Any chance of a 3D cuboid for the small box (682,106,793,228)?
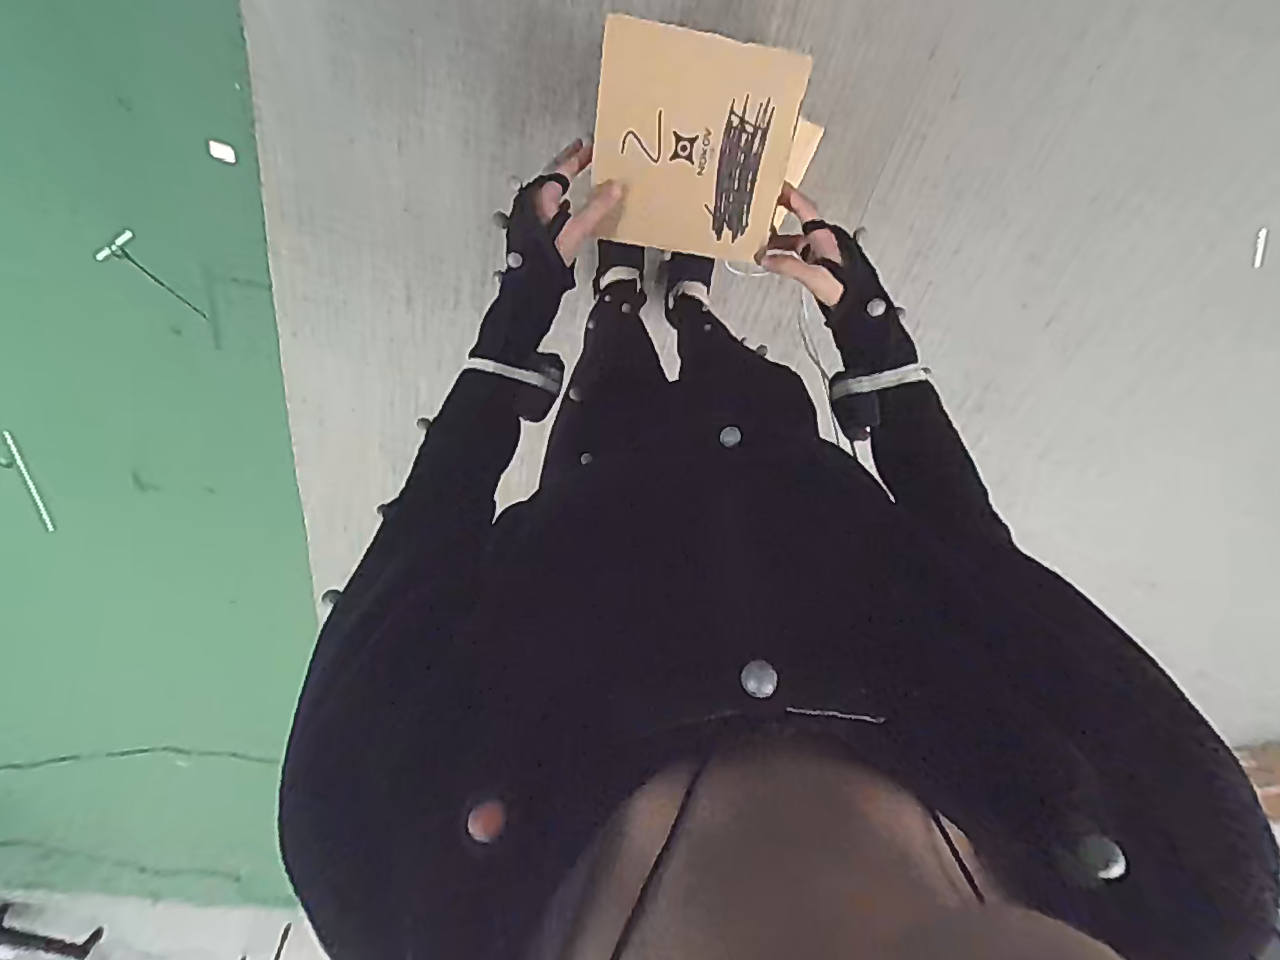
[{"bbox_3d":[0.189,-0.648,1.116,0.168,0.176,0.179,12,124,-9],"label":"small box"}]
